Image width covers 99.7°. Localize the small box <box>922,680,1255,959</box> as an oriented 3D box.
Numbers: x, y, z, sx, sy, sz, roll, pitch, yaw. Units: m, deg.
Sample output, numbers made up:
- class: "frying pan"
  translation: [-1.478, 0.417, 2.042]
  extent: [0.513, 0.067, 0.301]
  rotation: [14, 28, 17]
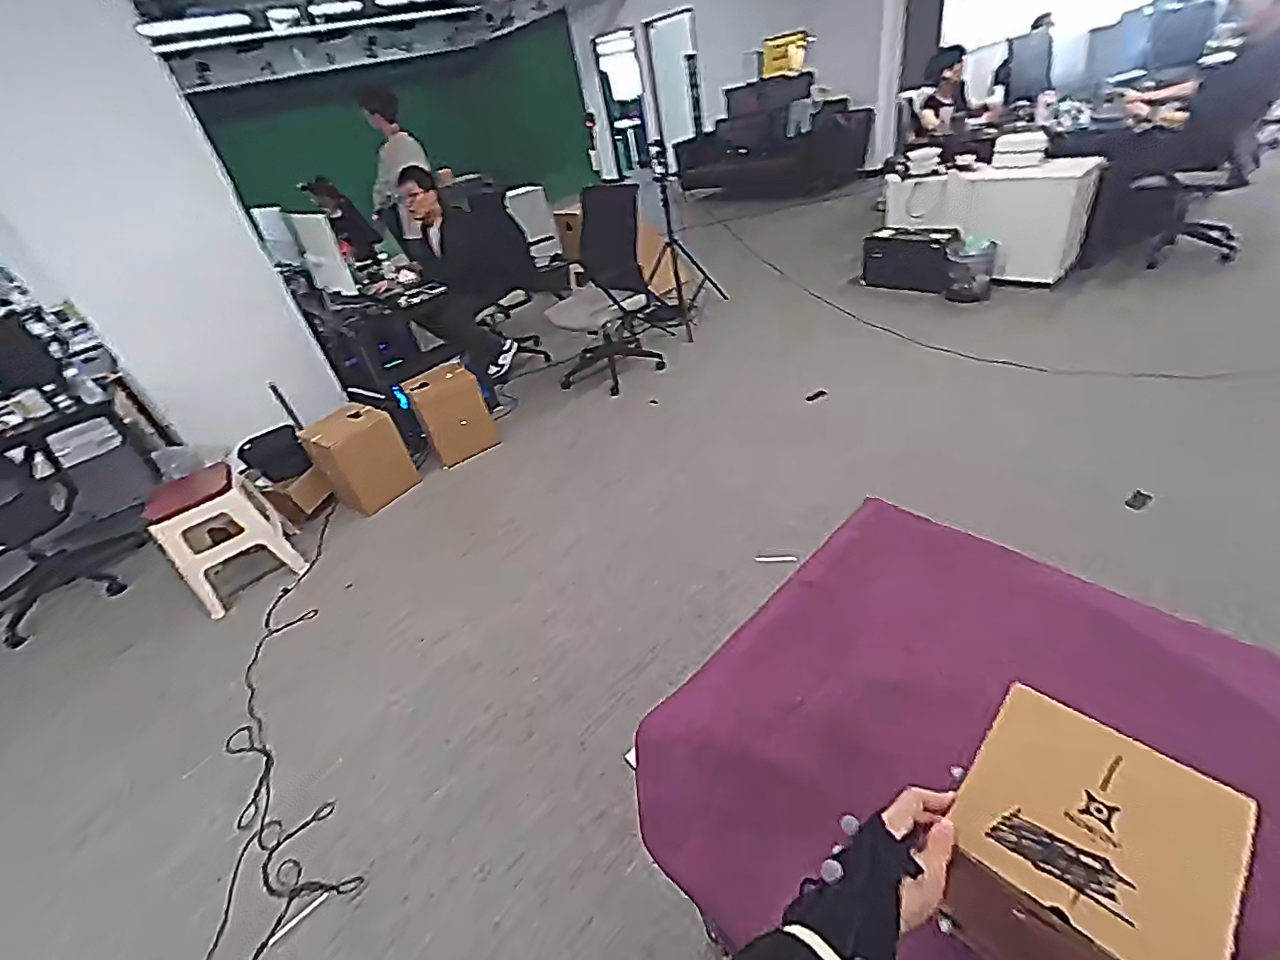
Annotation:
- class: "small box"
  translation: [0.367, 0.324, 0.469]
  extent: [0.179, 0.176, 0.168]
  rotation: [-35, 42, -30]
